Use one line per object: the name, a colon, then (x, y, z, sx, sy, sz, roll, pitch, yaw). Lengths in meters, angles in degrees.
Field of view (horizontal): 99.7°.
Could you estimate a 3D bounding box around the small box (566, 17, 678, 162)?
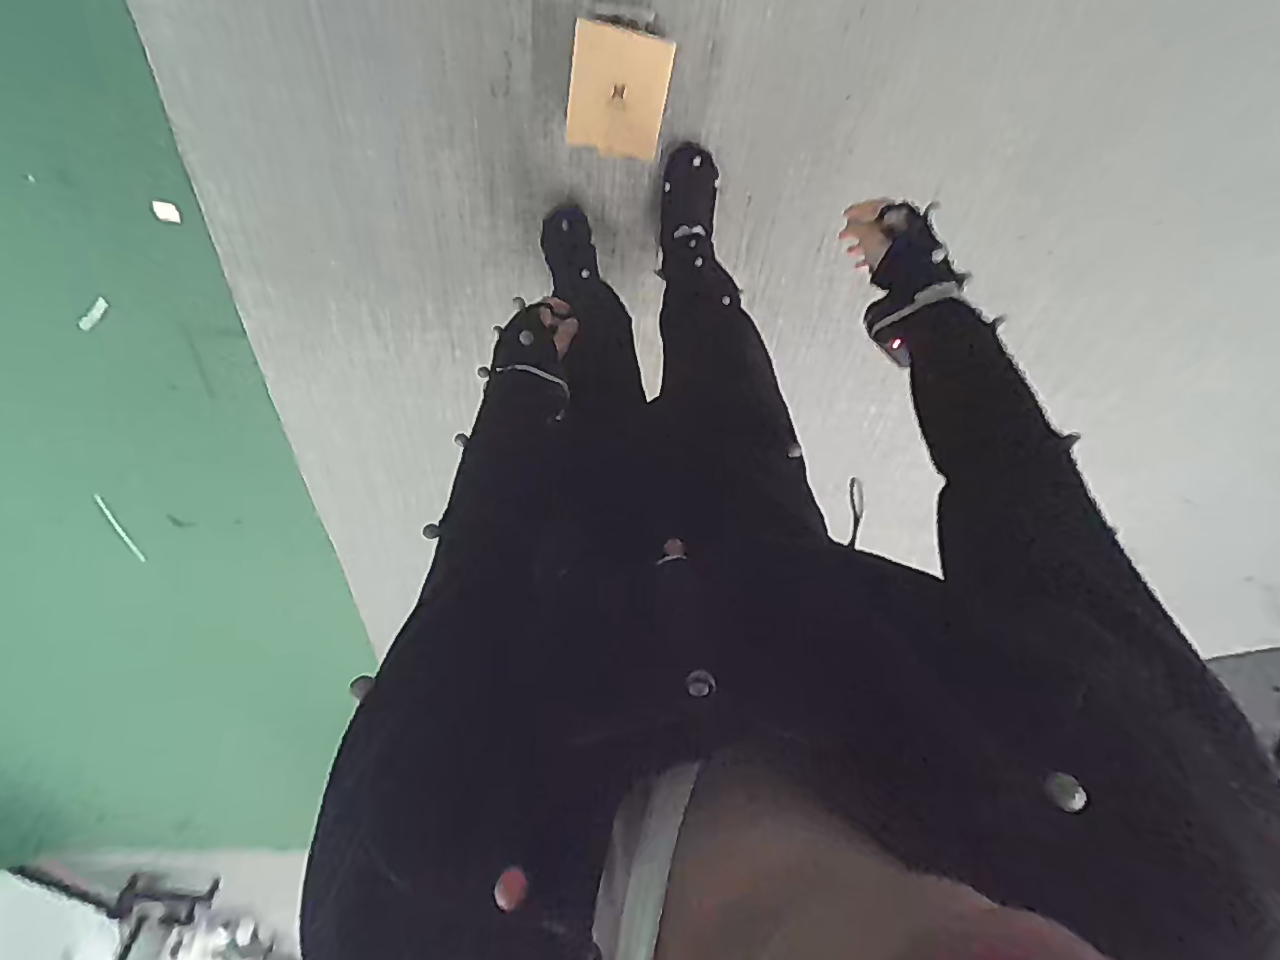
small box: (-0.039, -0.710, 0.982, 0.168, 0.176, 0.179, 8, 130, -9)
